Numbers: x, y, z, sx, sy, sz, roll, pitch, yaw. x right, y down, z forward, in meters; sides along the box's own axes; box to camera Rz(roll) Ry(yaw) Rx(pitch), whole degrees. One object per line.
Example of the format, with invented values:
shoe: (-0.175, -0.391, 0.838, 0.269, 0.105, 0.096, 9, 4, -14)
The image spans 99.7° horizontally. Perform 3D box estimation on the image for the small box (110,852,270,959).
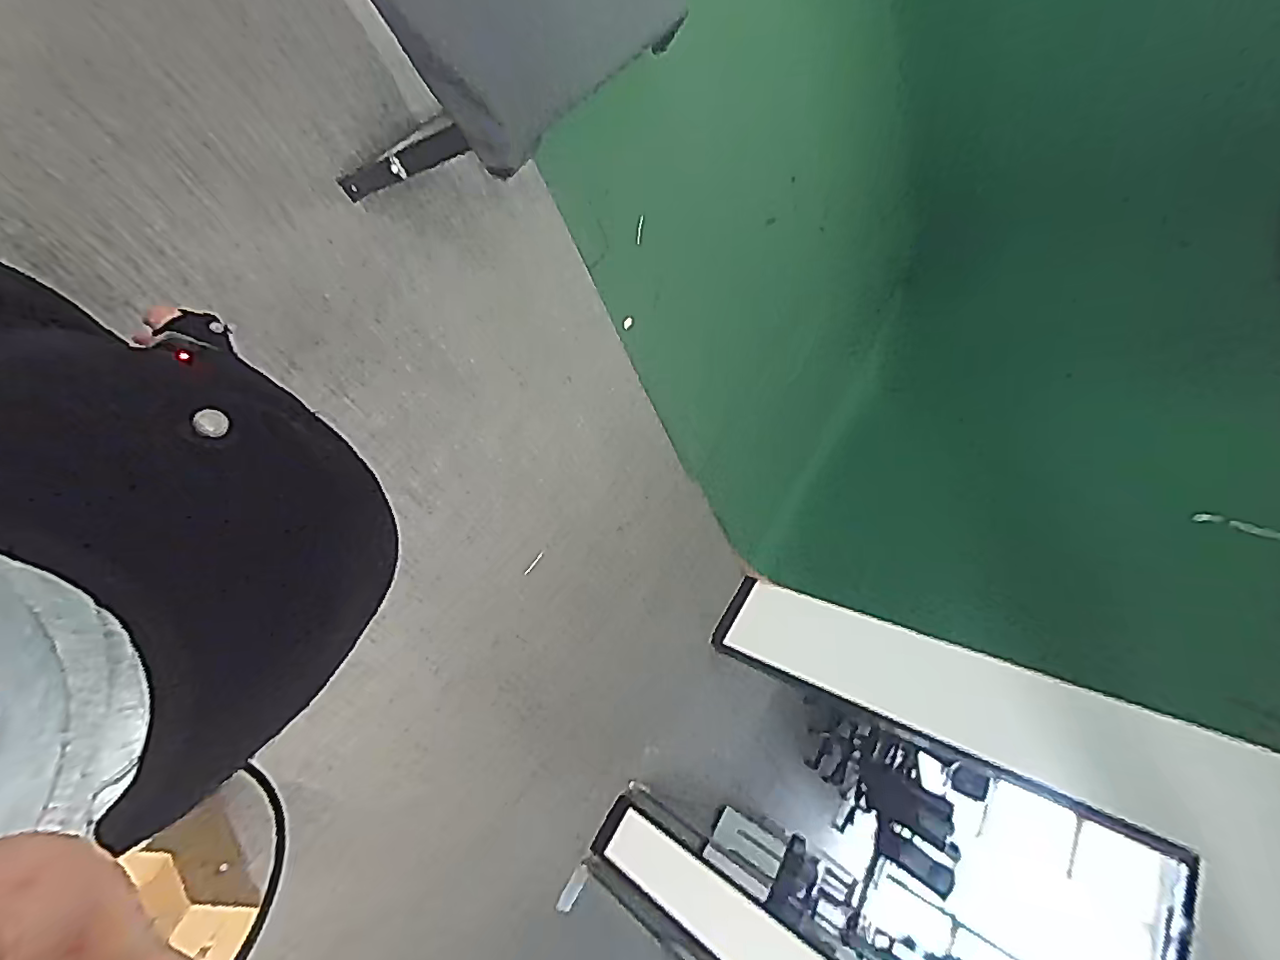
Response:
small box: (-0.898, 0.888, 1.078, 0.179, 0.176, 0.168, -61, 138, -24)
